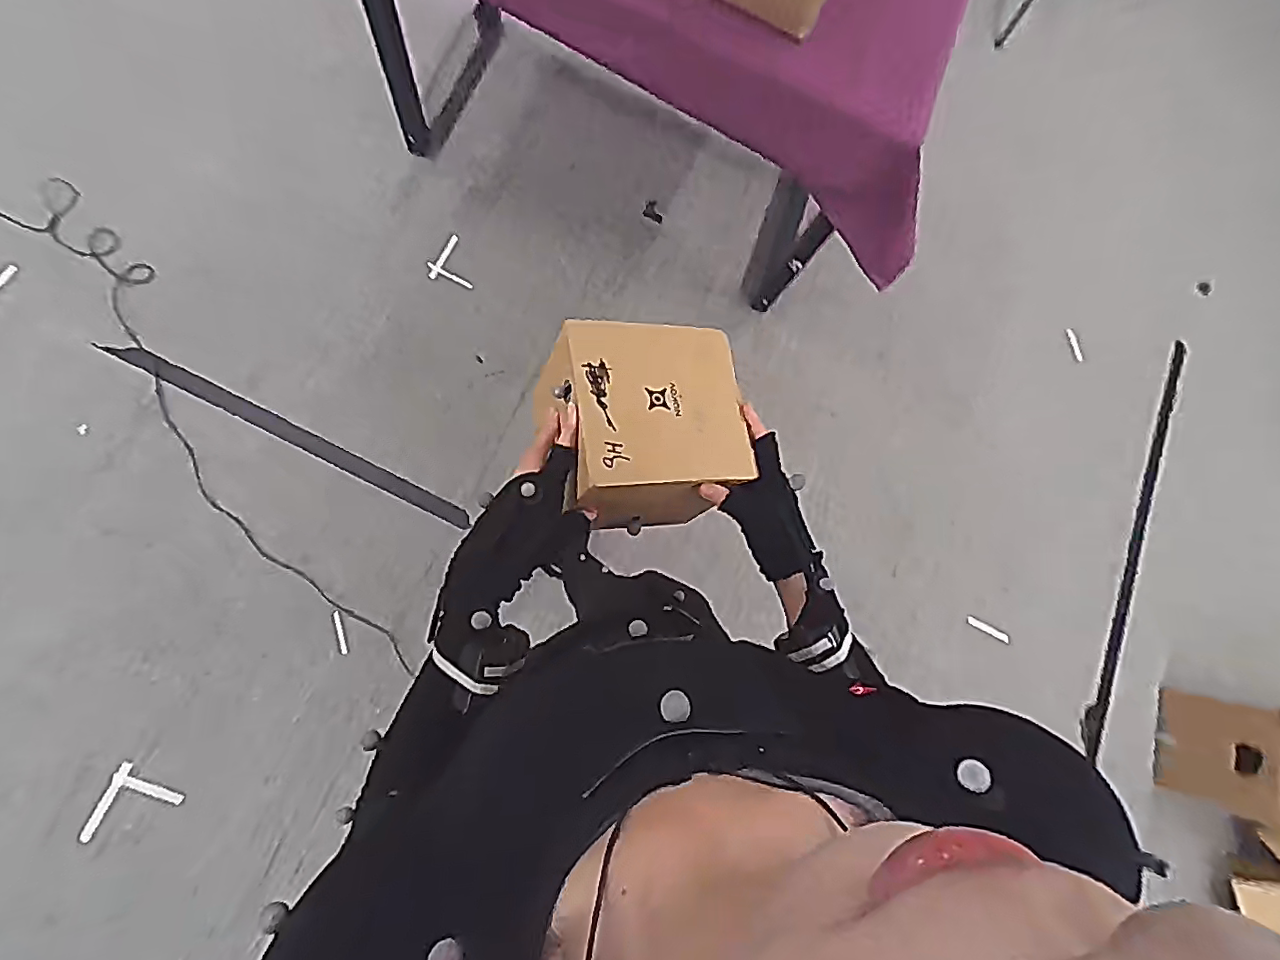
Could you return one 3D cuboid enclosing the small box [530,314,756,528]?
[{"bbox_3d":[-0.009,-0.052,0.580,0.179,0.176,0.168,-2,70,-24],"label":"small box"}]
